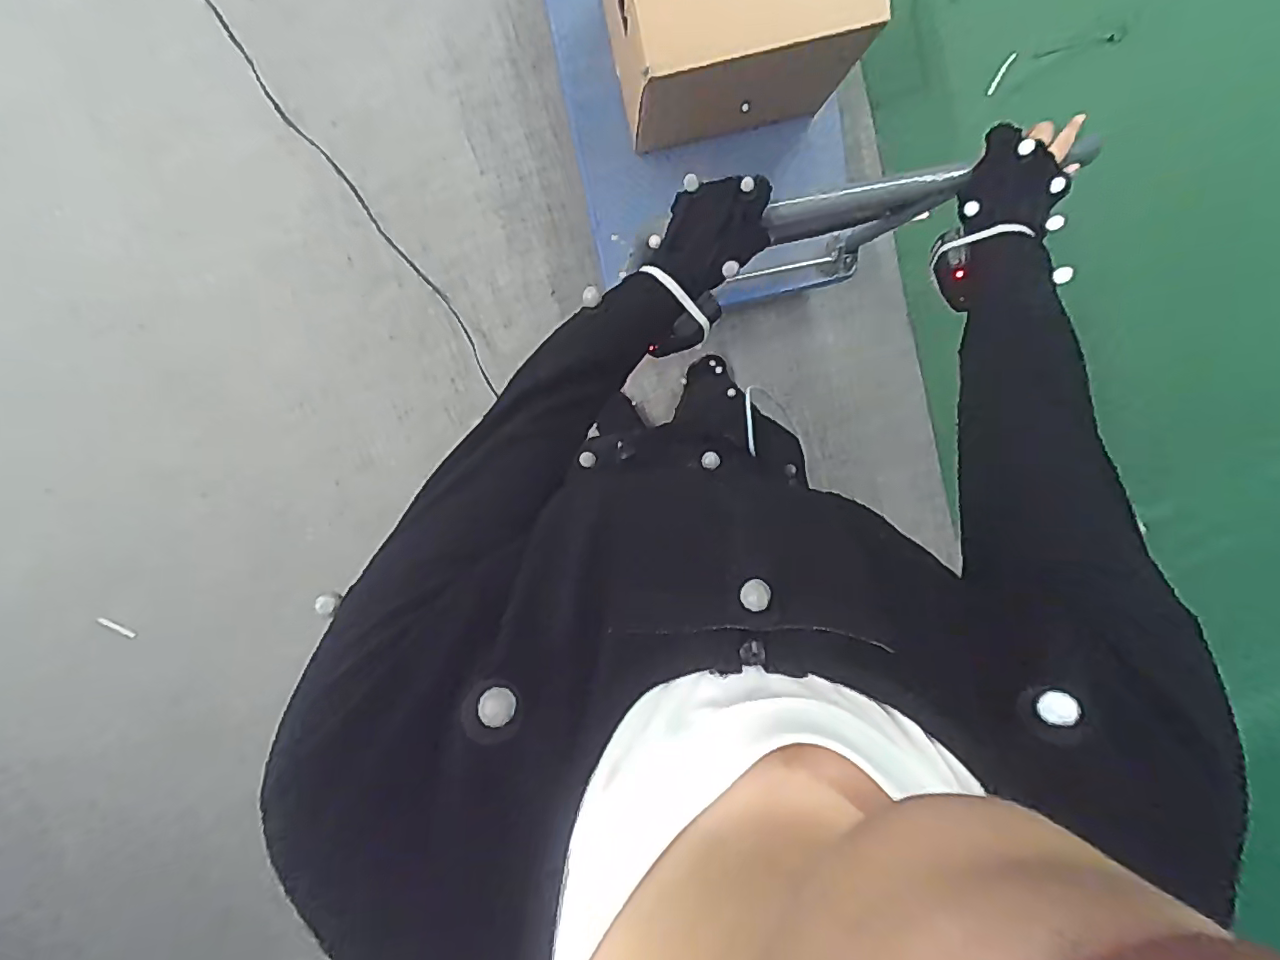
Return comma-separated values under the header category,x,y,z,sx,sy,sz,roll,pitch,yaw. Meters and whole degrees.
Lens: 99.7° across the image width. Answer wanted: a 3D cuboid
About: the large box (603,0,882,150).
category,x,y,z,sx,sy,sz,roll,pitch,yaw
large box,0.157,-0.871,0.988,0.408,0.320,0.320,-15,101,0
